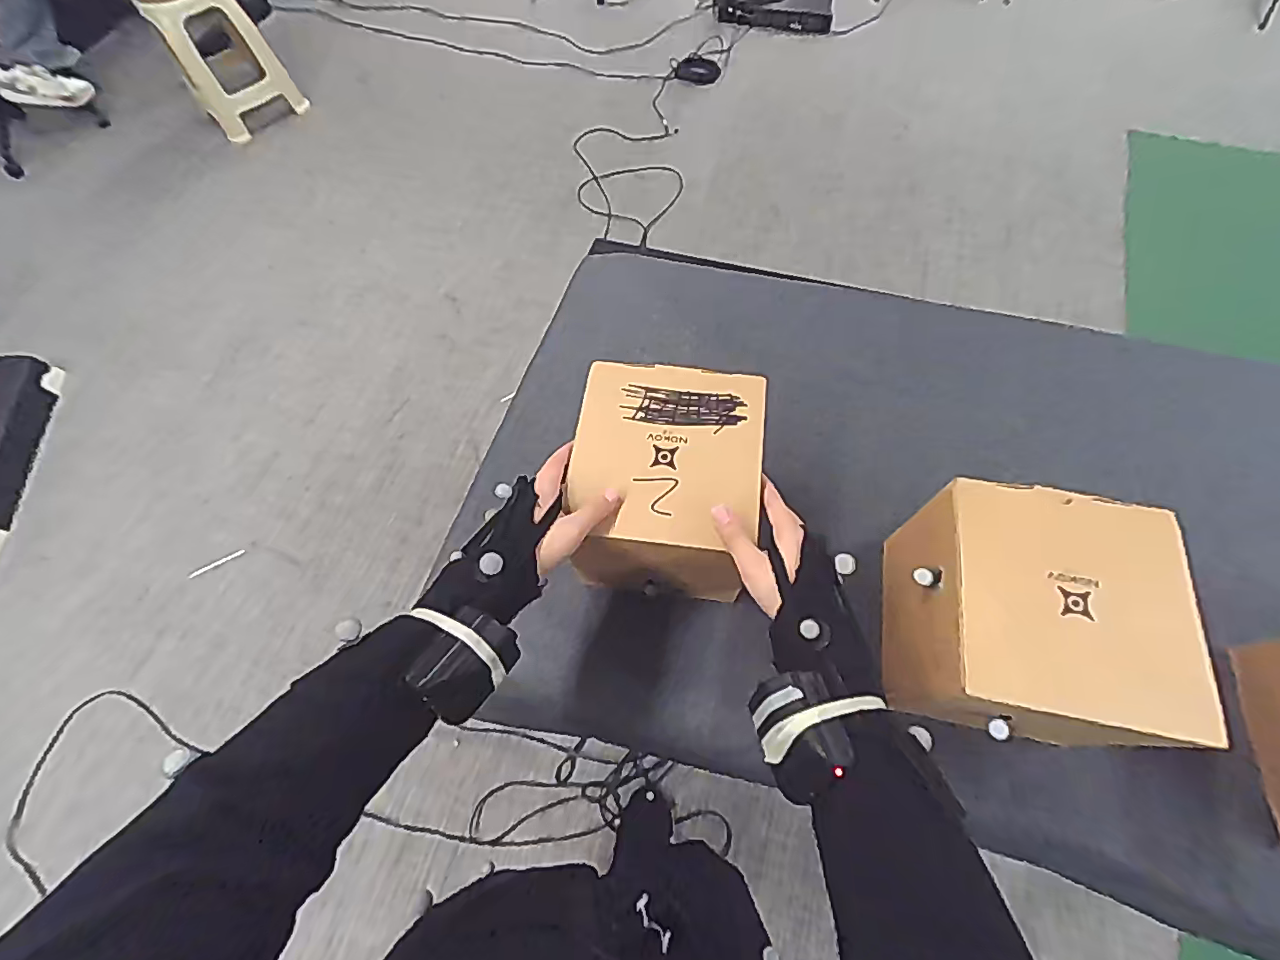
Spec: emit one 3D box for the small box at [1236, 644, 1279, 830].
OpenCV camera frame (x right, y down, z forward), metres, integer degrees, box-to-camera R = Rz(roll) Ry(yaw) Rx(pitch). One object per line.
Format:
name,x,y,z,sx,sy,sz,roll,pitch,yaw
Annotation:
small box,0.632,0.218,0.412,0.168,0.176,0.179,8,65,8

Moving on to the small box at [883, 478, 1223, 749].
small box,0.327,0.122,0.473,0.168,0.176,0.179,10,64,8
